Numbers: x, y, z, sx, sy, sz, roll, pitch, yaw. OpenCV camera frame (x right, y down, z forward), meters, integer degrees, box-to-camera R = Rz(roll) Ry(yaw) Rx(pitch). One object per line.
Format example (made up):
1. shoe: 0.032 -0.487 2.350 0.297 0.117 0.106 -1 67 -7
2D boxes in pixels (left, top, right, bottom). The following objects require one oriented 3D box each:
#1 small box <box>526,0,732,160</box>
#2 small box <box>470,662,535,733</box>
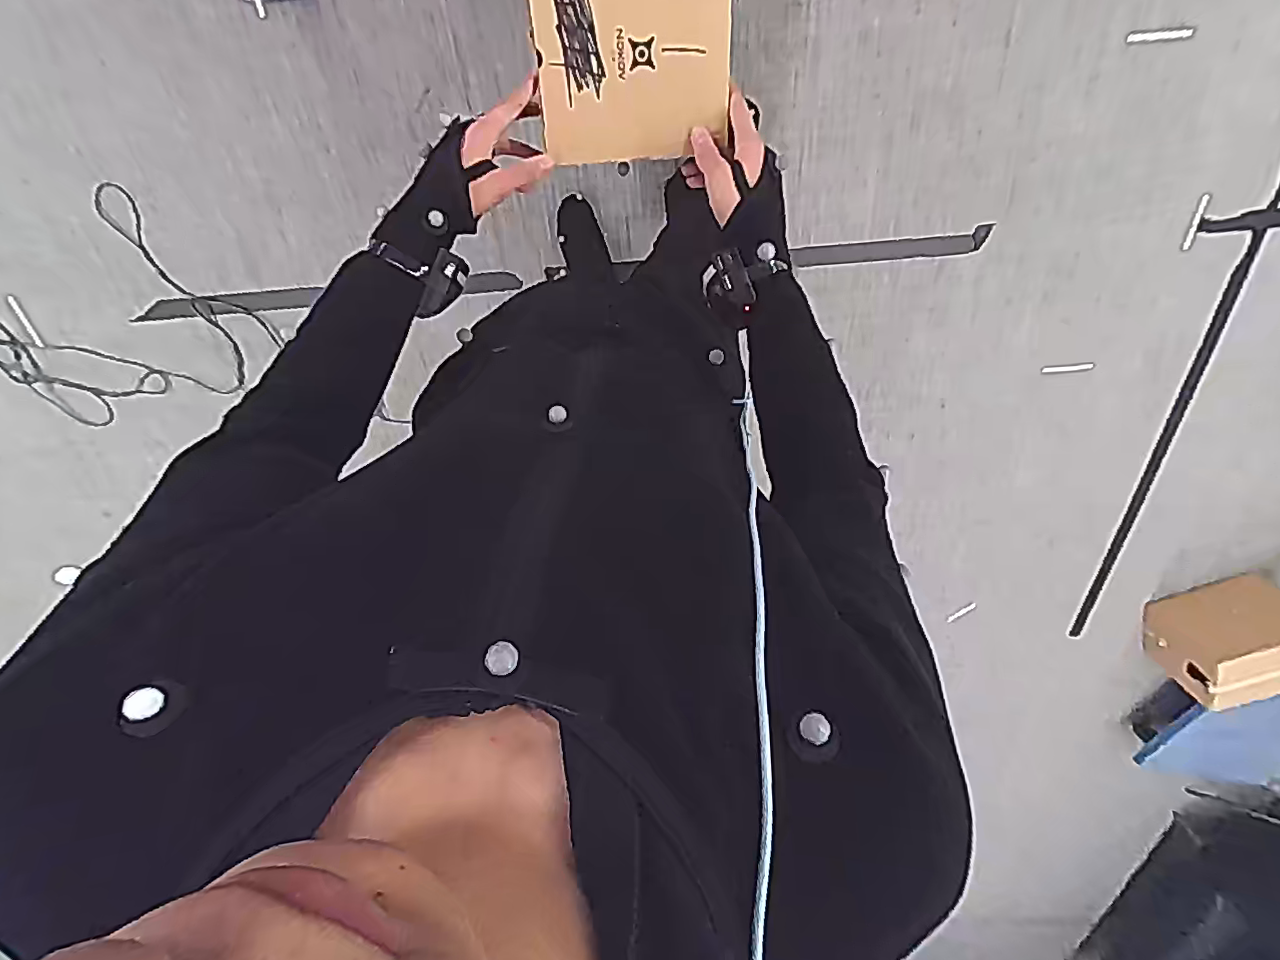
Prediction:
1. small box: -0.011 -0.417 0.538 0.179 0.176 0.168 -4 122 -2
2. small box: -0.477 0.758 1.893 0.179 0.176 0.168 -3 119 -1
